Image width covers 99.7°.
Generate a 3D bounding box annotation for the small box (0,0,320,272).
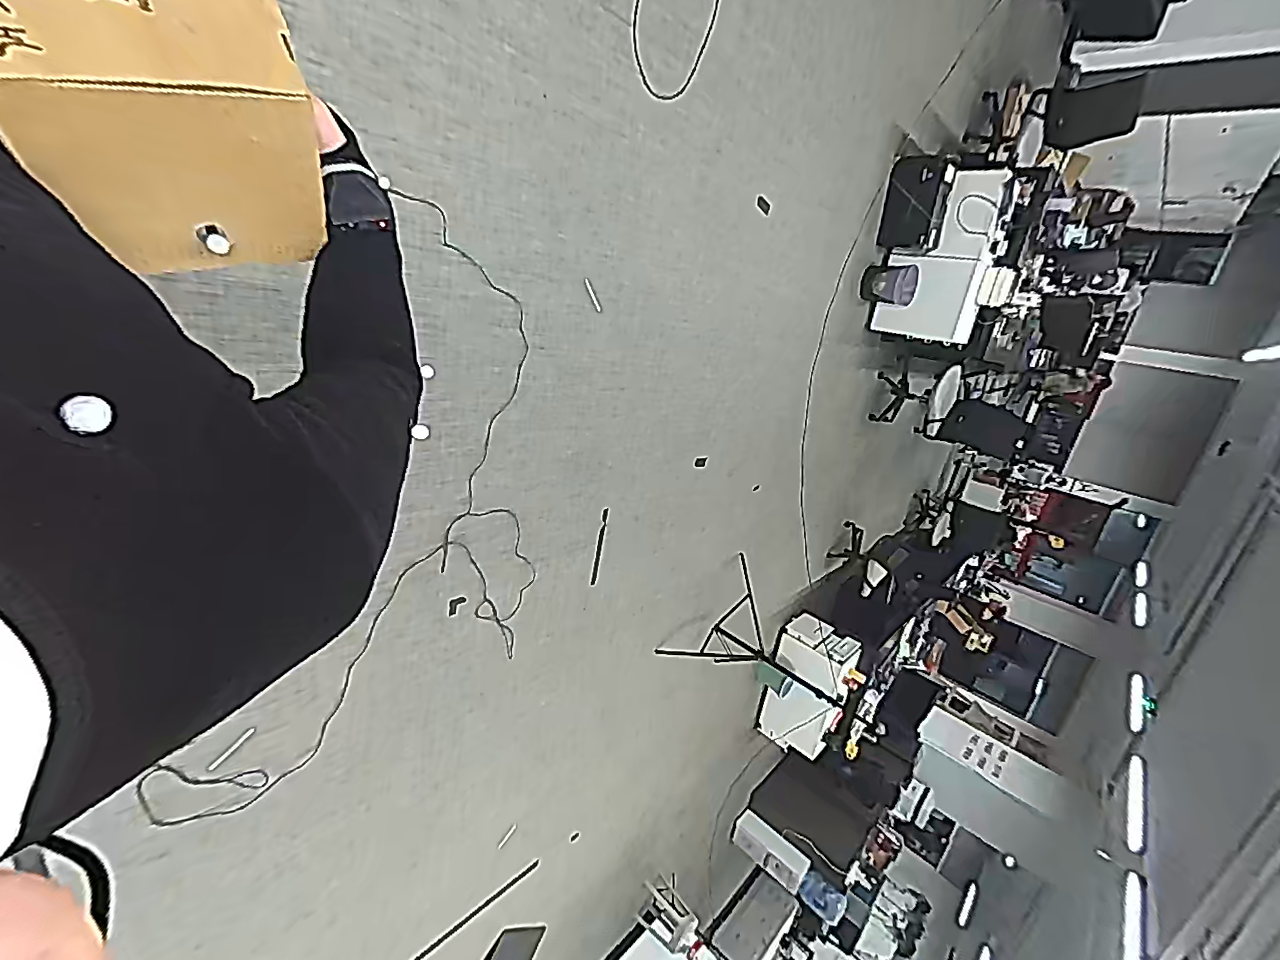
[{"bbox_3d":[-0.379,-0.295,0.439,0.179,0.168,0.176,-21,169,-31],"label":"small box"}]
